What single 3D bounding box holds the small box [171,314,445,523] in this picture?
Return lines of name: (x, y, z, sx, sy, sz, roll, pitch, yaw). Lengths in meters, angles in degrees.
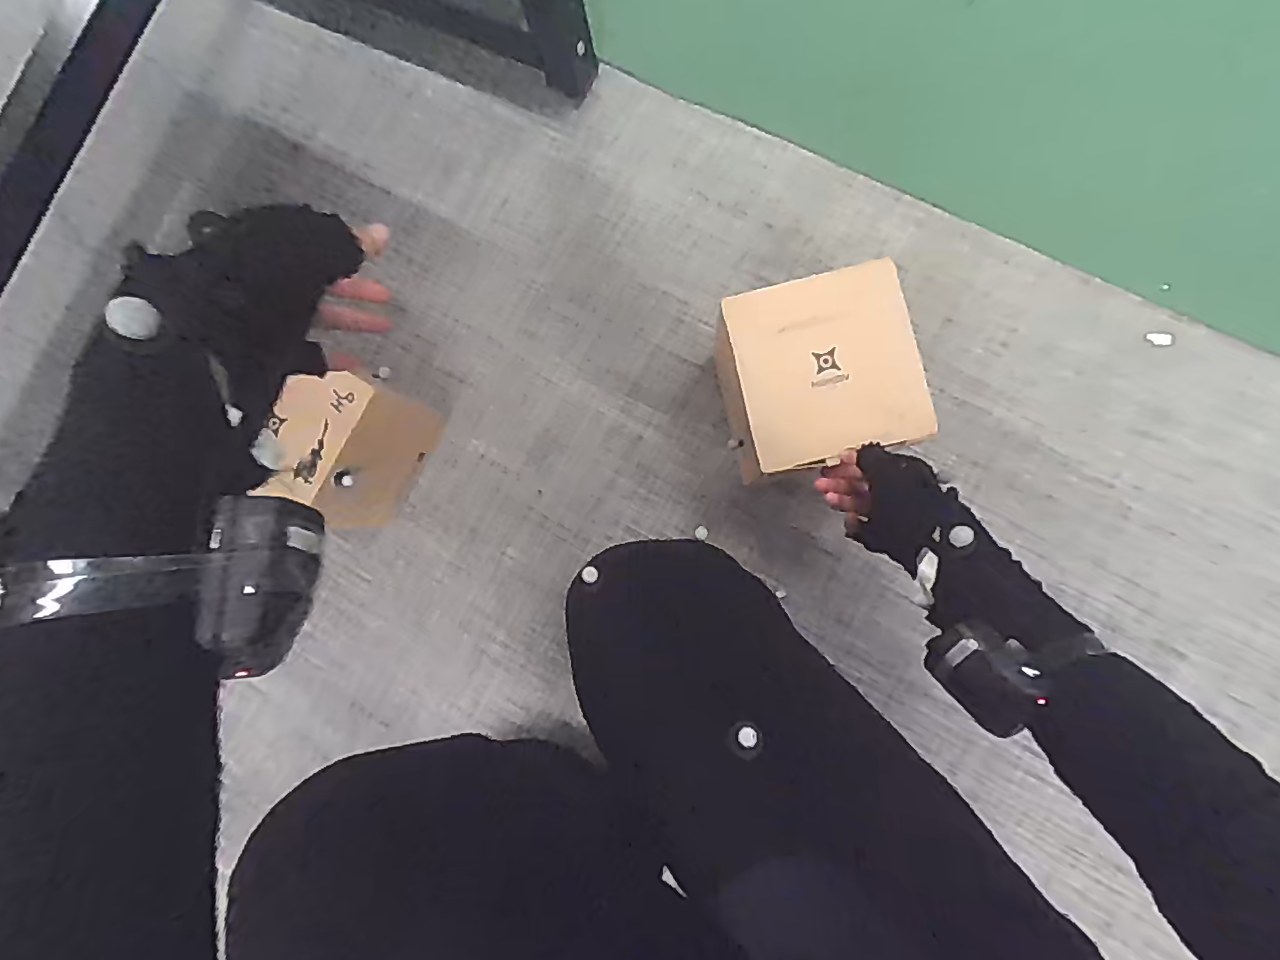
small box: (-0.370, -0.059, 0.634, 0.179, 0.176, 0.168, 29, 90, 9)
